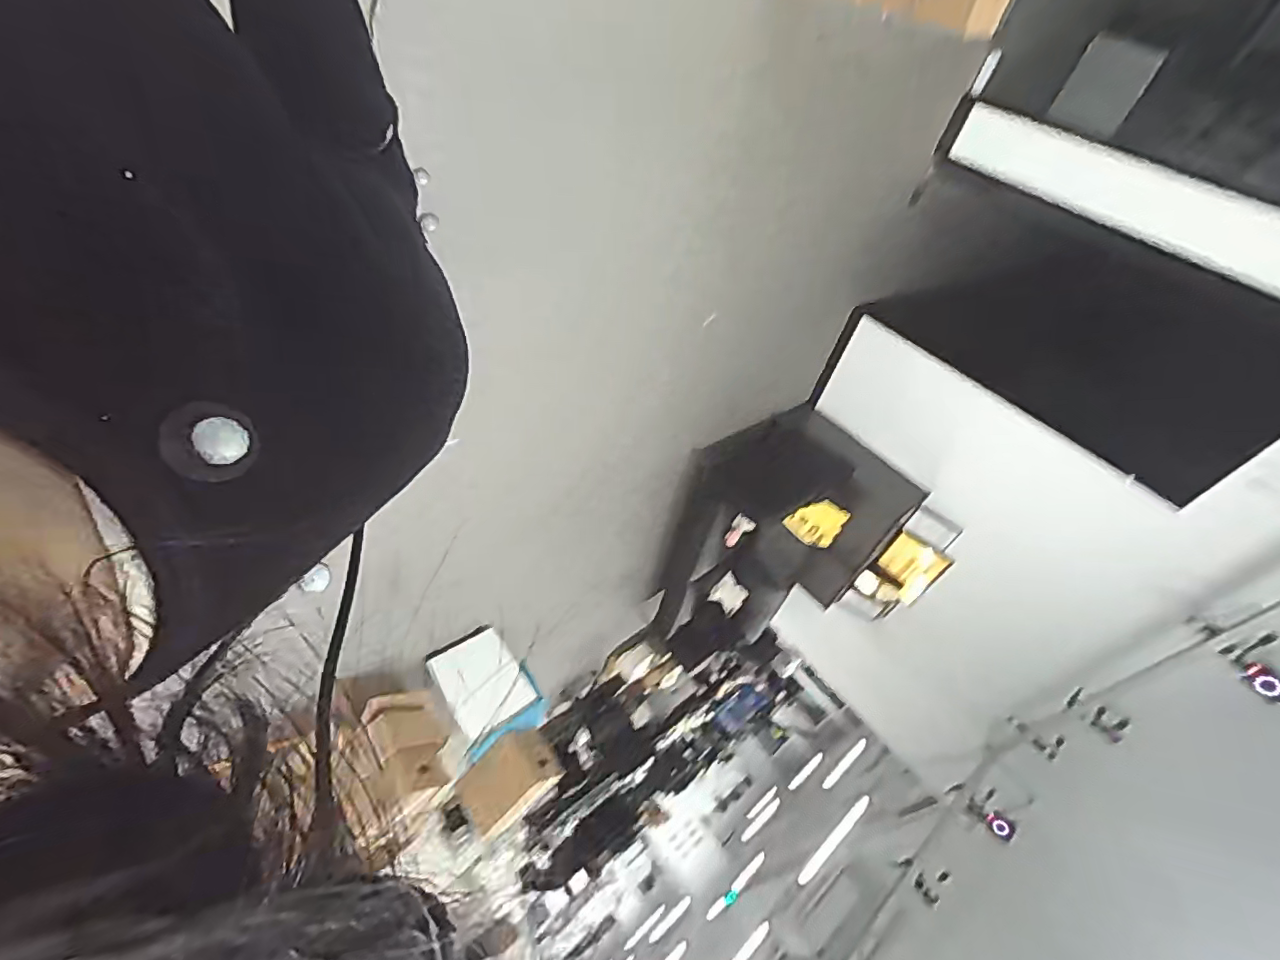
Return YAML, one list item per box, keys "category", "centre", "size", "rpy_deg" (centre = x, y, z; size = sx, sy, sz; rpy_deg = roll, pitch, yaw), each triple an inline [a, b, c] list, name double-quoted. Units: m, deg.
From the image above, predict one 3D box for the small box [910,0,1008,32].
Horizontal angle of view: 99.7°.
- category: "small box"
  centre: [0.823, -1.249, 1.353]
  size: [0.179, 0.176, 0.168]
  rpy_deg: [-27, 148, -30]

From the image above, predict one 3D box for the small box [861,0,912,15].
- category: "small box"
  centre: [0.721, -1.356, 1.426]
  size: [0.168, 0.176, 0.179]
  rpy_deg: [-27, 149, -31]
